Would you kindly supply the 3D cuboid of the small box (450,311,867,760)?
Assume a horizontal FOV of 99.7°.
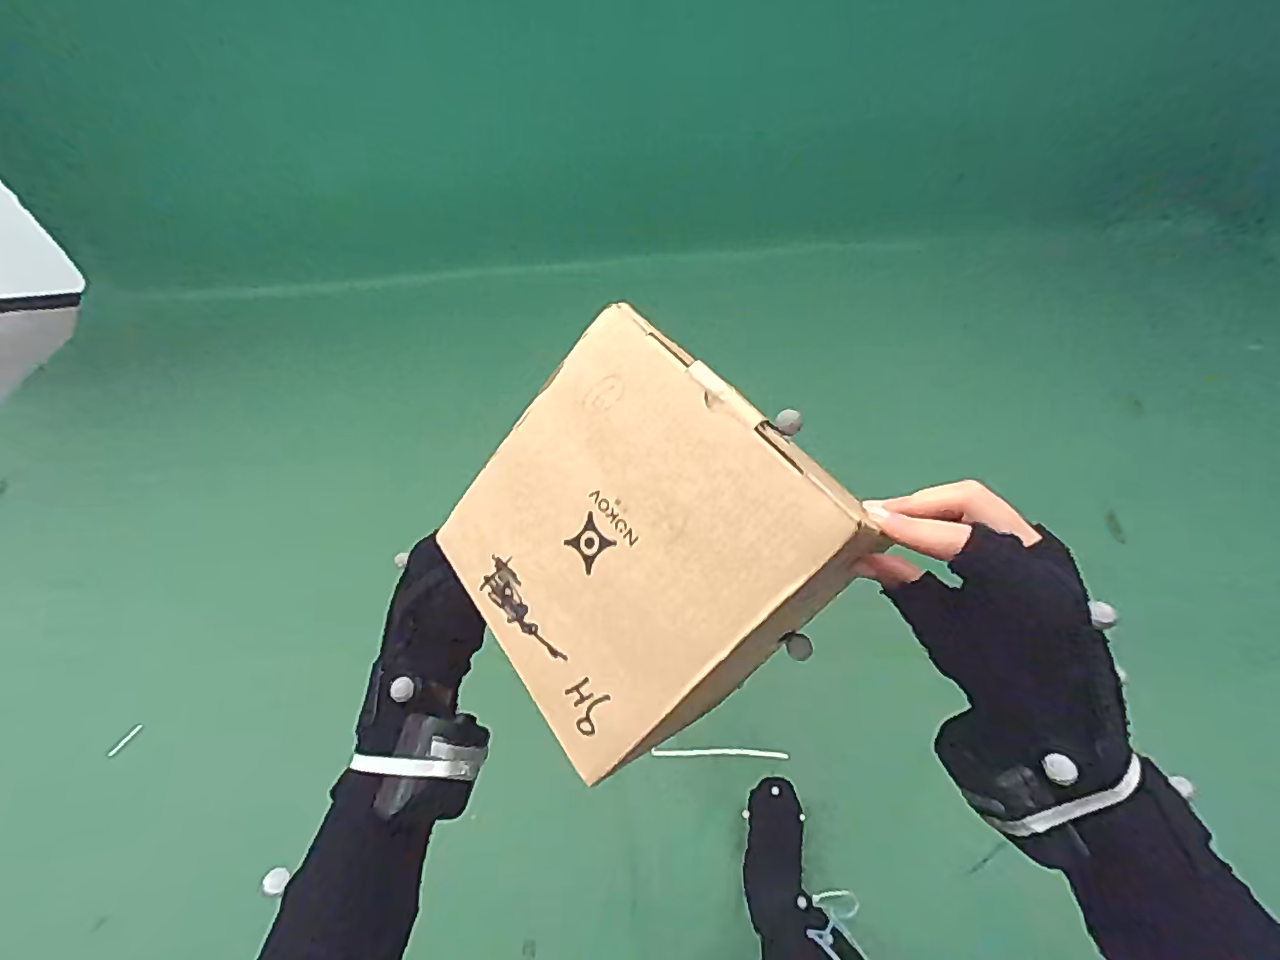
[{"bbox_3d":[0.023,0.034,0.349,0.179,0.176,0.168,-48,63,13],"label":"small box"}]
